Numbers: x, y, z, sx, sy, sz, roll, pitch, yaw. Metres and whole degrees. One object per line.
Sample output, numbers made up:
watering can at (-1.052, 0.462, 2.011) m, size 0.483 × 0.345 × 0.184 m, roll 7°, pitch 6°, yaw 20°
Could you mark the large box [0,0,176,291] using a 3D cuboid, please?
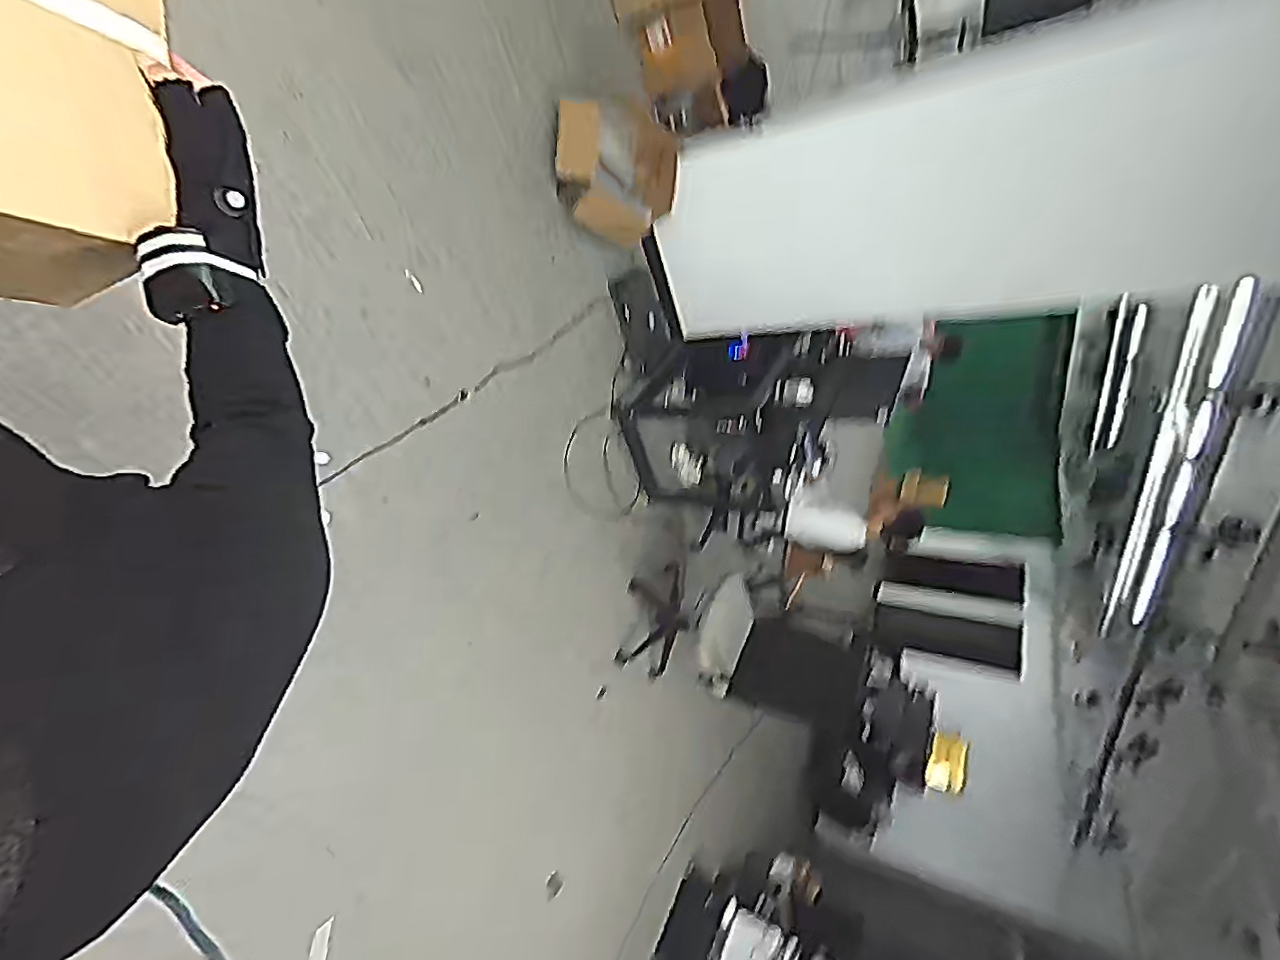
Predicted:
large box at (-0.626, -0.343, 0.352) m, size 0.408 × 0.320 × 0.320 m, roll -8°, pitch 98°, yaw -58°
